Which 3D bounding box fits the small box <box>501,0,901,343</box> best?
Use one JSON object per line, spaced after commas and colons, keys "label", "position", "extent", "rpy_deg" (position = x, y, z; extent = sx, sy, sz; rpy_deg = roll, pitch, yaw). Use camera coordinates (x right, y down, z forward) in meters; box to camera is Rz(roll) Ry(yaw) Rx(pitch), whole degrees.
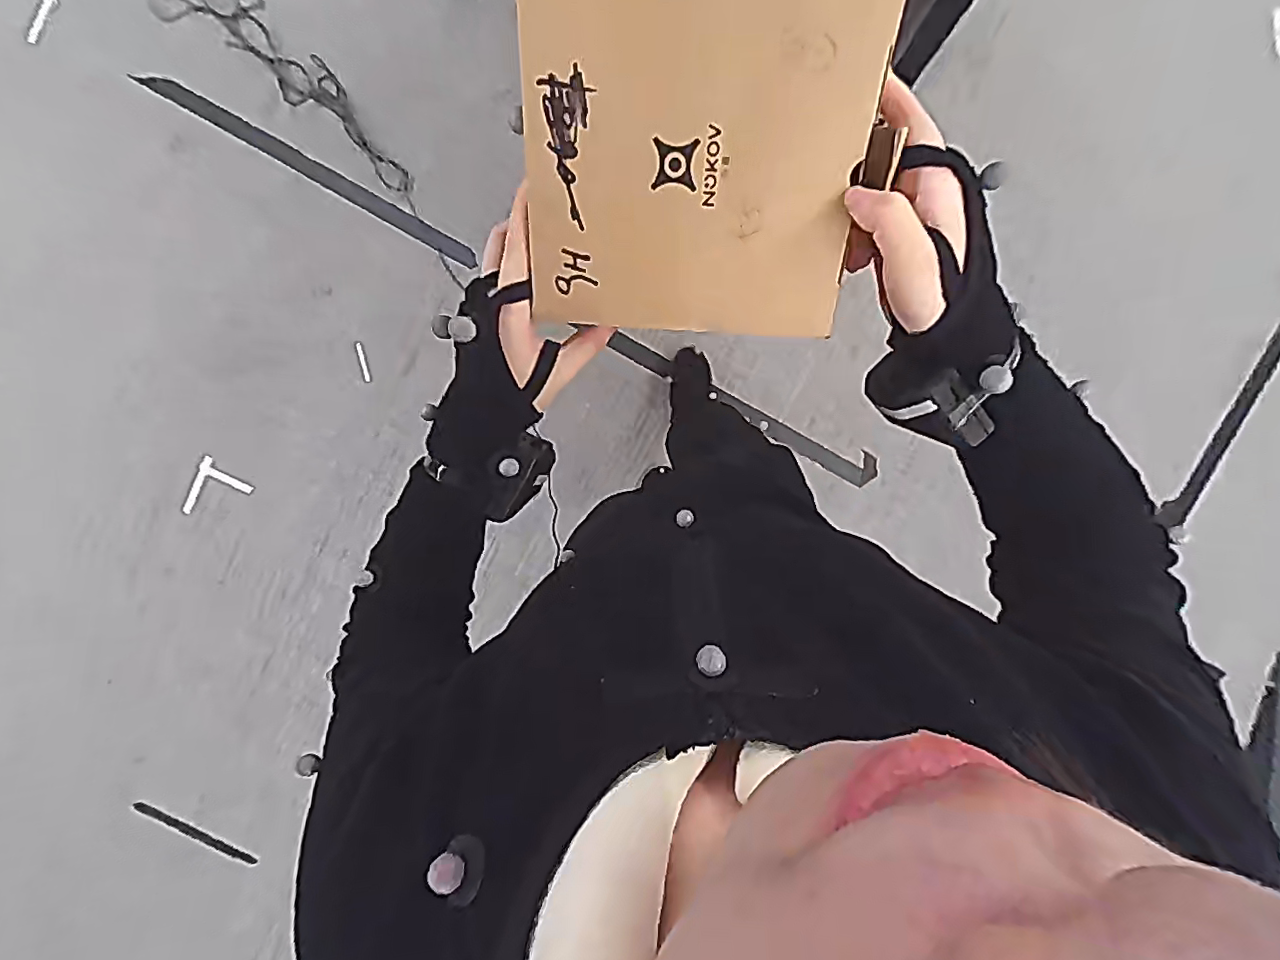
{"label": "small box", "position": [0.022, -0.199, 0.337], "extent": [0.179, 0.176, 0.168], "rpy_deg": [7, 121, 0]}
